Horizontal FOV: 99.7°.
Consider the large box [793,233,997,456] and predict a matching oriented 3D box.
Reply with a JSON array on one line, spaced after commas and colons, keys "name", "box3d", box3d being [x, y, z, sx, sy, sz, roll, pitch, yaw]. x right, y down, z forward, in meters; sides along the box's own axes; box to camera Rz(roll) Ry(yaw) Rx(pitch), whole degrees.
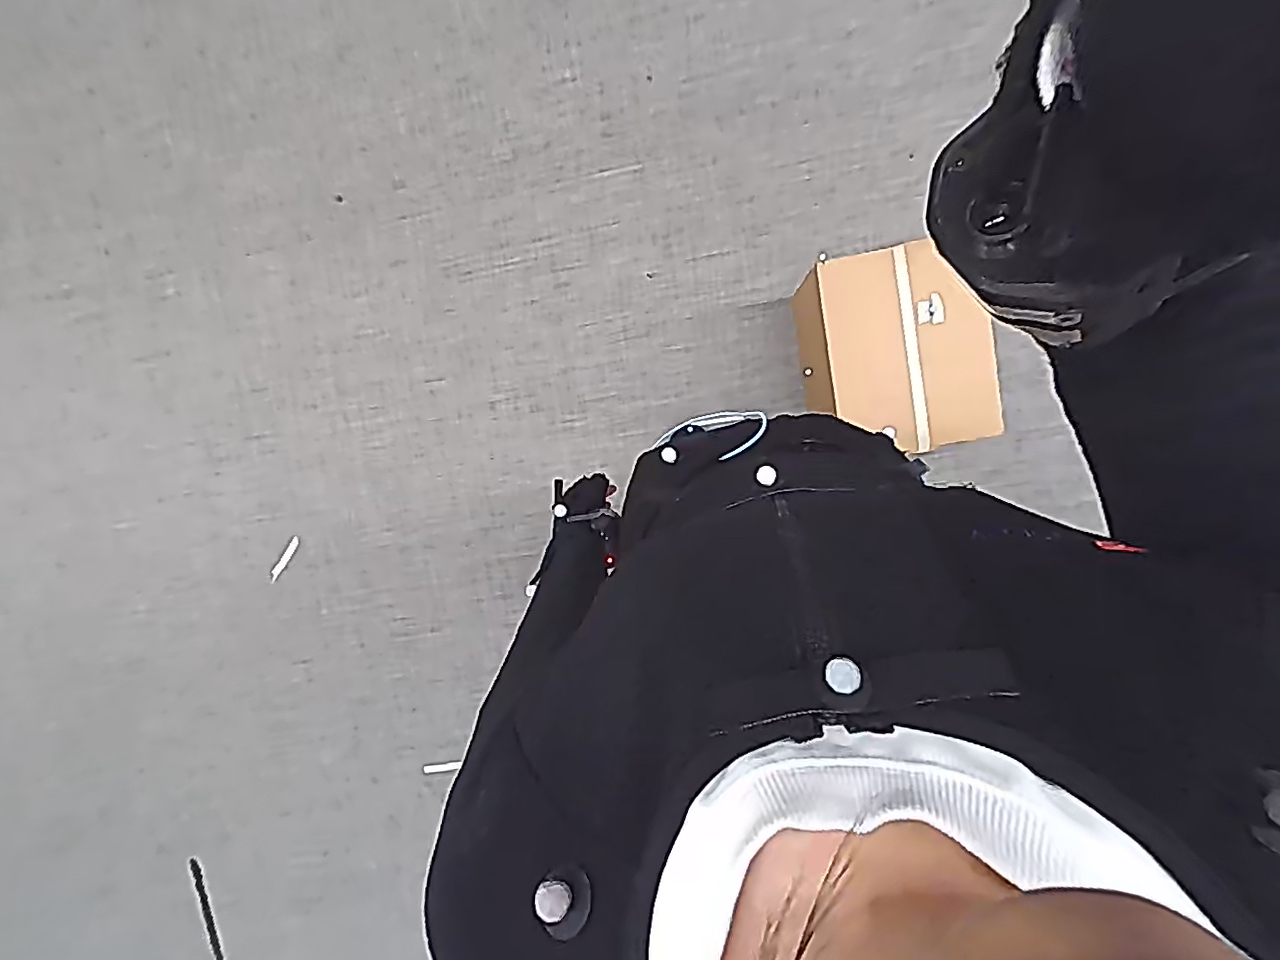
[{"name": "large box", "box3d": [0.555, -0.281, 1.243, 0.320, 0.320, 0.408, -9, 94, 6]}]
